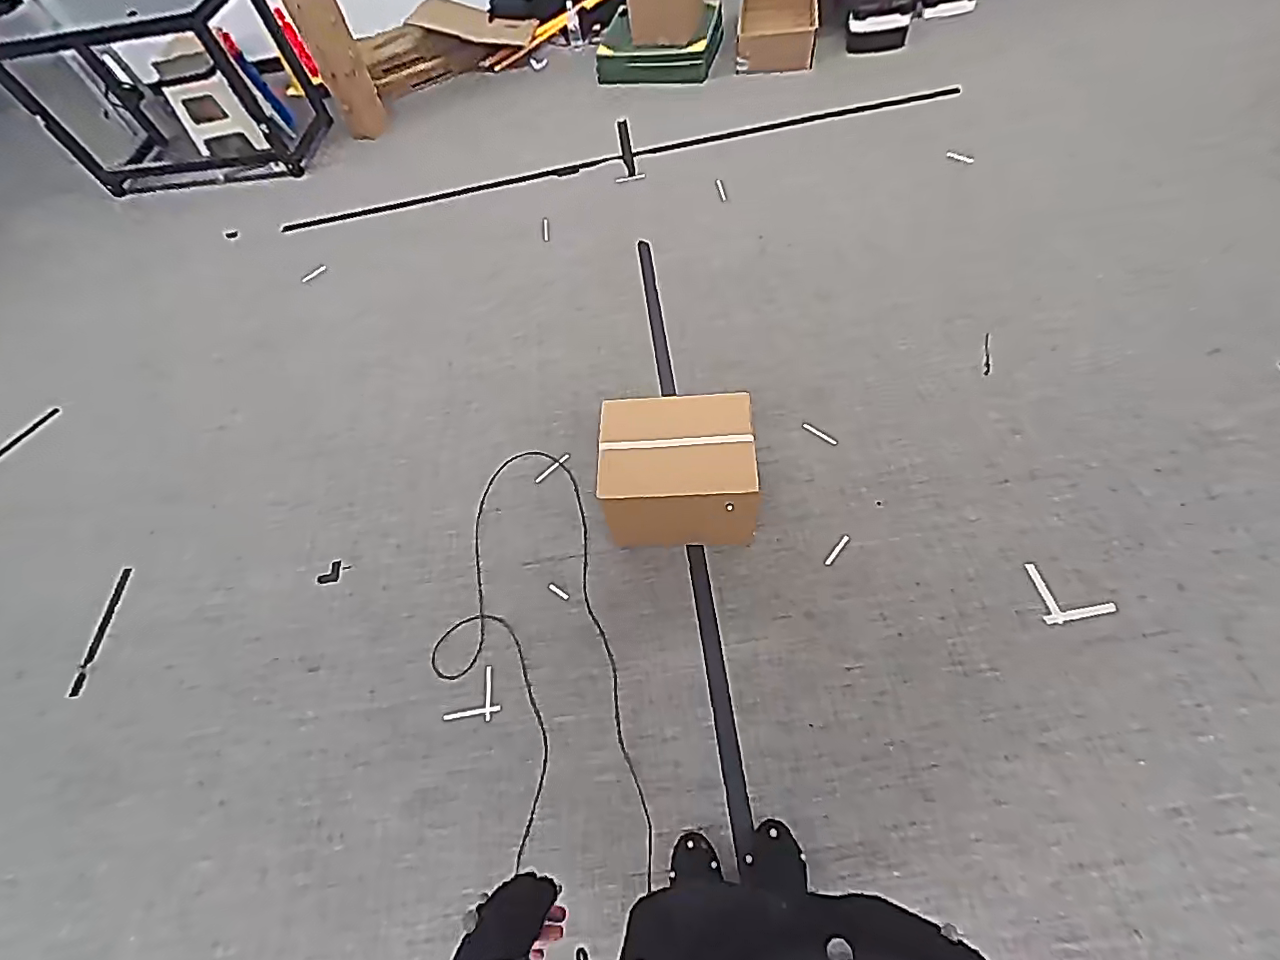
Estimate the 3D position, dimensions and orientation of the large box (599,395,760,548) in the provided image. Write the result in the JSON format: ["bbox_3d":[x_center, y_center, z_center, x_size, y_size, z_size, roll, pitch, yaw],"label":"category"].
[{"bbox_3d":[0.113,-0.011,1.528,0.408,0.320,0.320,-3,59,6],"label":"large box"}]
